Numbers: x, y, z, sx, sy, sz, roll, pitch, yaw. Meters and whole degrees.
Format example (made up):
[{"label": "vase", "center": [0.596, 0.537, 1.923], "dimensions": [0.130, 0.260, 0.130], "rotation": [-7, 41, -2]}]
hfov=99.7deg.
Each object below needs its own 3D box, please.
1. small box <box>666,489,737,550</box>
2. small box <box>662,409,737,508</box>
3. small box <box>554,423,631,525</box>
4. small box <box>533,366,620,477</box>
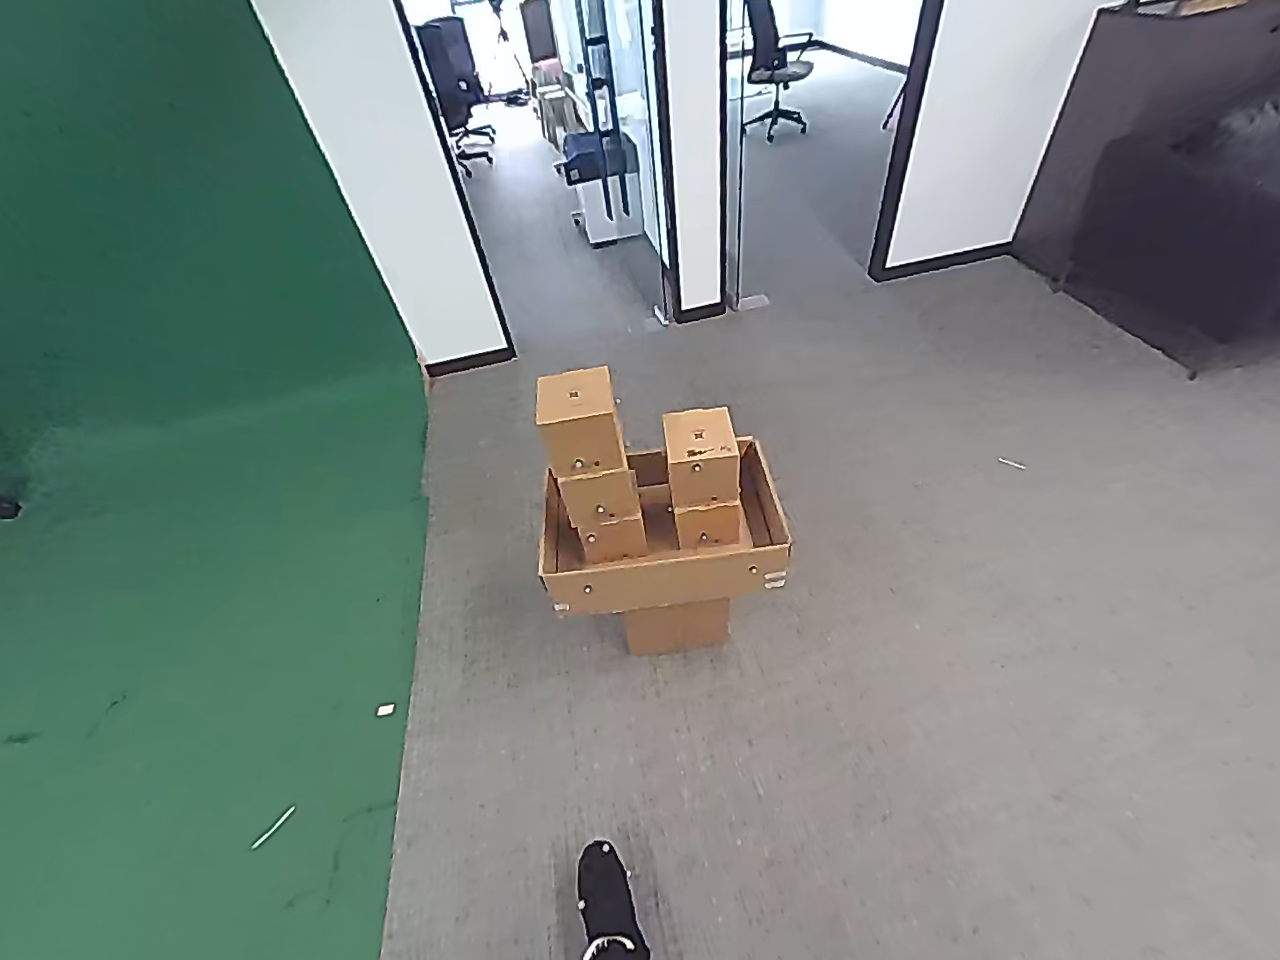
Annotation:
[{"label": "small box", "center": [0.159, 0.064, 1.457], "dimensions": [0.168, 0.176, 0.179], "rotation": [-7, 48, 0]}, {"label": "small box", "center": [0.142, -0.053, 1.342], "dimensions": [0.168, 0.176, 0.179], "rotation": [-6, 47, 2]}, {"label": "small box", "center": [-0.118, -0.015, 1.337], "dimensions": [0.168, 0.176, 0.179], "rotation": [-10, 47, -1]}, {"label": "small box", "center": [-0.140, -0.131, 1.224], "dimensions": [0.168, 0.176, 0.179], "rotation": [-9, 47, 0]}]
